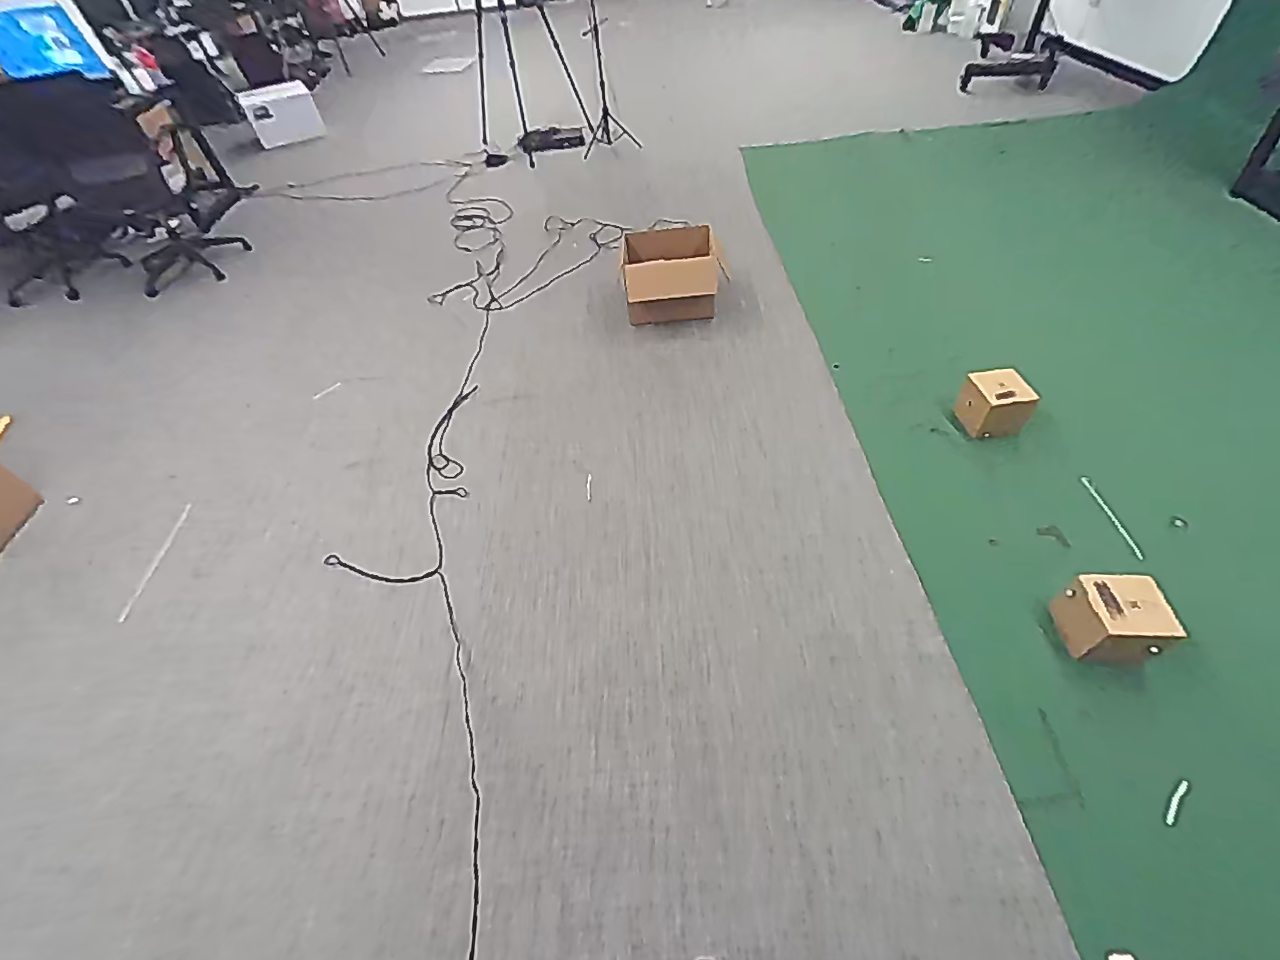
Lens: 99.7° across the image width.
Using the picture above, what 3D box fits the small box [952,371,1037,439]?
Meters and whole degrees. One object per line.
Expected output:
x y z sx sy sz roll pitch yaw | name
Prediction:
1.249 -0.261 1.920 0.168 0.176 0.179 -7 48 0 | small box
